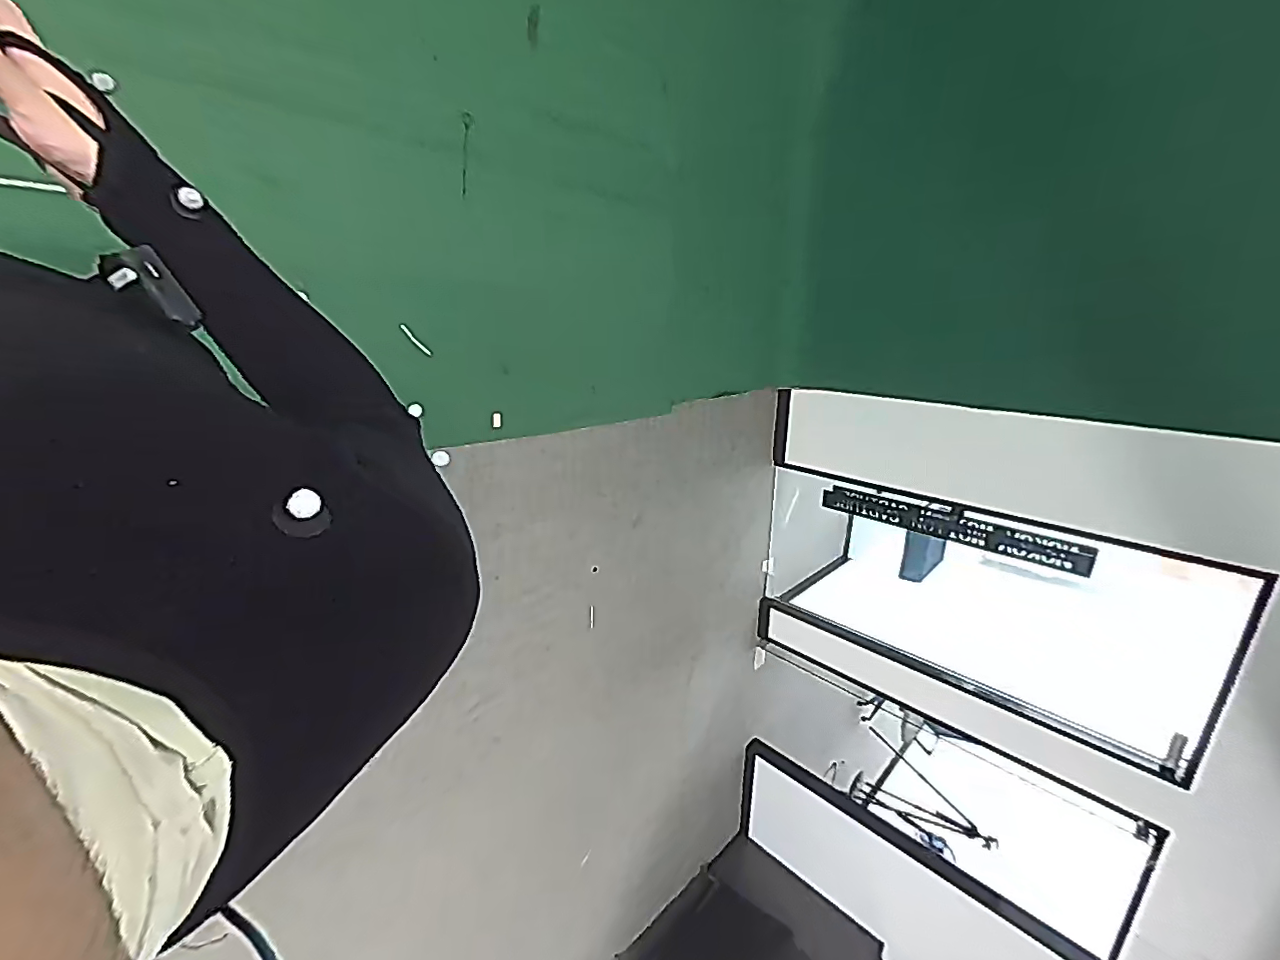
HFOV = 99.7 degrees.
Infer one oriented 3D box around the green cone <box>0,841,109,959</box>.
[{"bbox_3d":[-1.320,1.037,1.190,0.202,0.368,0.200,-14,113,-42],"label":"green cone"}]
